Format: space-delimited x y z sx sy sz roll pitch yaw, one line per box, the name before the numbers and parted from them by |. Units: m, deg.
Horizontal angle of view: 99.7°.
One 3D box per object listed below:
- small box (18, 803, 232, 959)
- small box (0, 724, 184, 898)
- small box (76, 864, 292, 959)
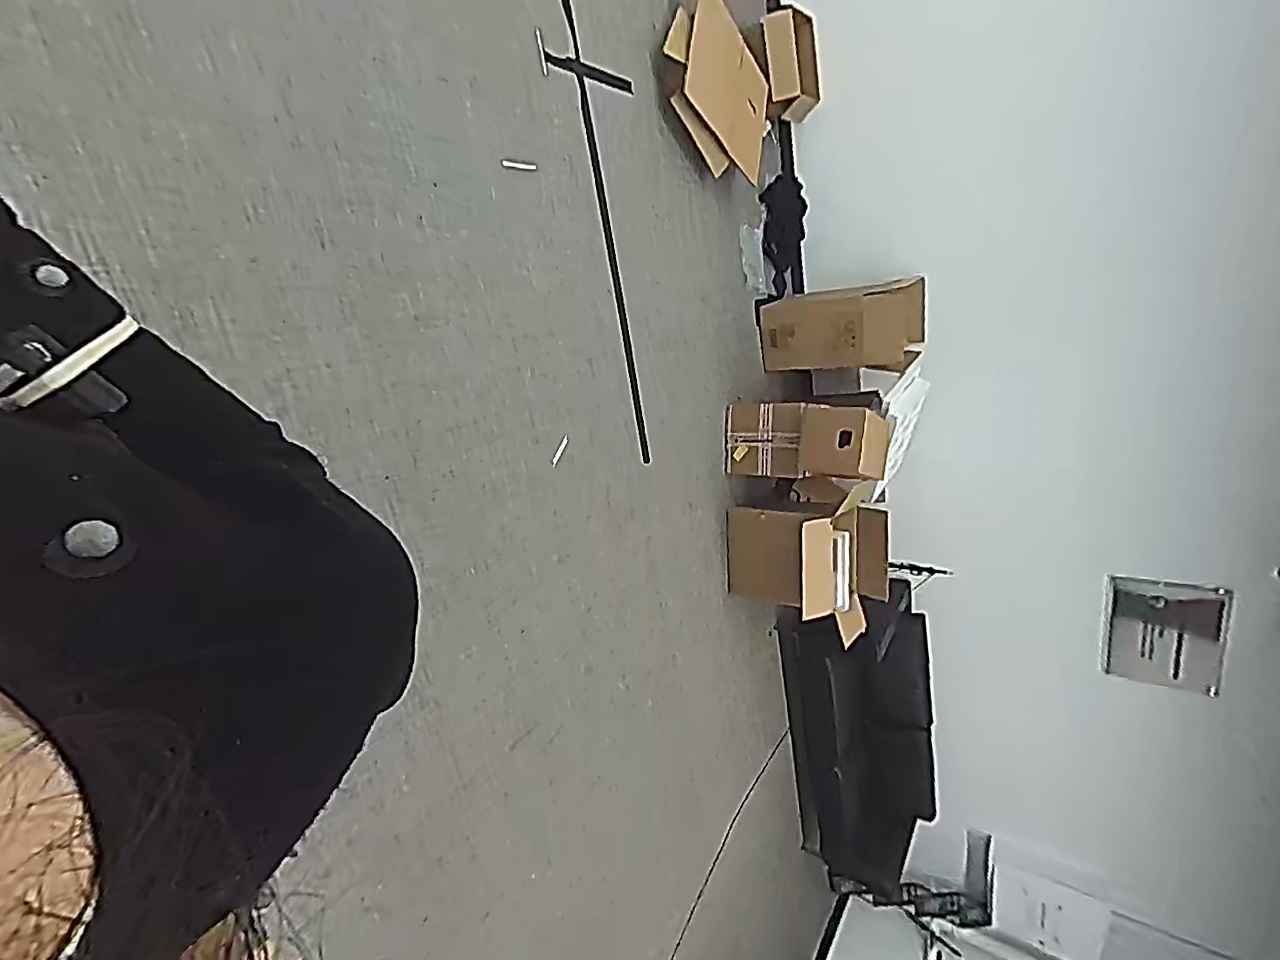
small box | -0.582 0.534 0.643 0.168 0.176 0.179 -30 114 -47
small box | -0.845 0.514 0.835 0.179 0.176 0.168 -30 114 -46
small box | -0.451 0.543 0.543 0.168 0.176 0.179 -32 115 -47
